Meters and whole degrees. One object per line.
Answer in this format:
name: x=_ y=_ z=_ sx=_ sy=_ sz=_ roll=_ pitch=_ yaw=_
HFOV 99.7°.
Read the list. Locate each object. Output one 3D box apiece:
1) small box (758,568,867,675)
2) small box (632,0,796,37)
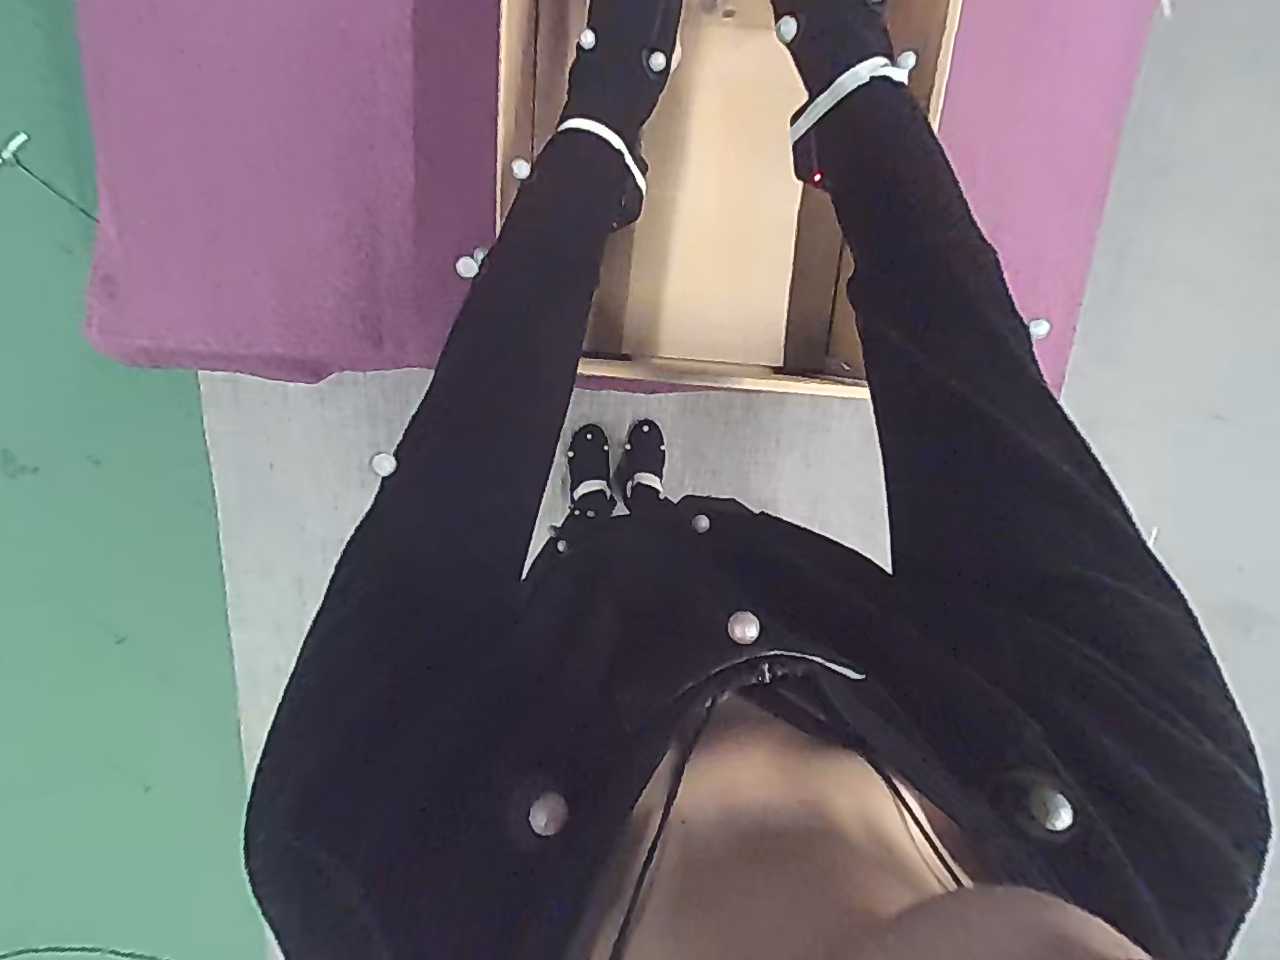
small box: x=0.369 y=0.303 z=1.189 sx=0.168 sy=0.176 sz=0.179 roll=4 pitch=102 yaw=-6
small box: x=0.079 y=-0.547 z=0.481 sx=0.168 sy=0.176 sz=0.179 roll=1 pitch=105 yaw=-5
